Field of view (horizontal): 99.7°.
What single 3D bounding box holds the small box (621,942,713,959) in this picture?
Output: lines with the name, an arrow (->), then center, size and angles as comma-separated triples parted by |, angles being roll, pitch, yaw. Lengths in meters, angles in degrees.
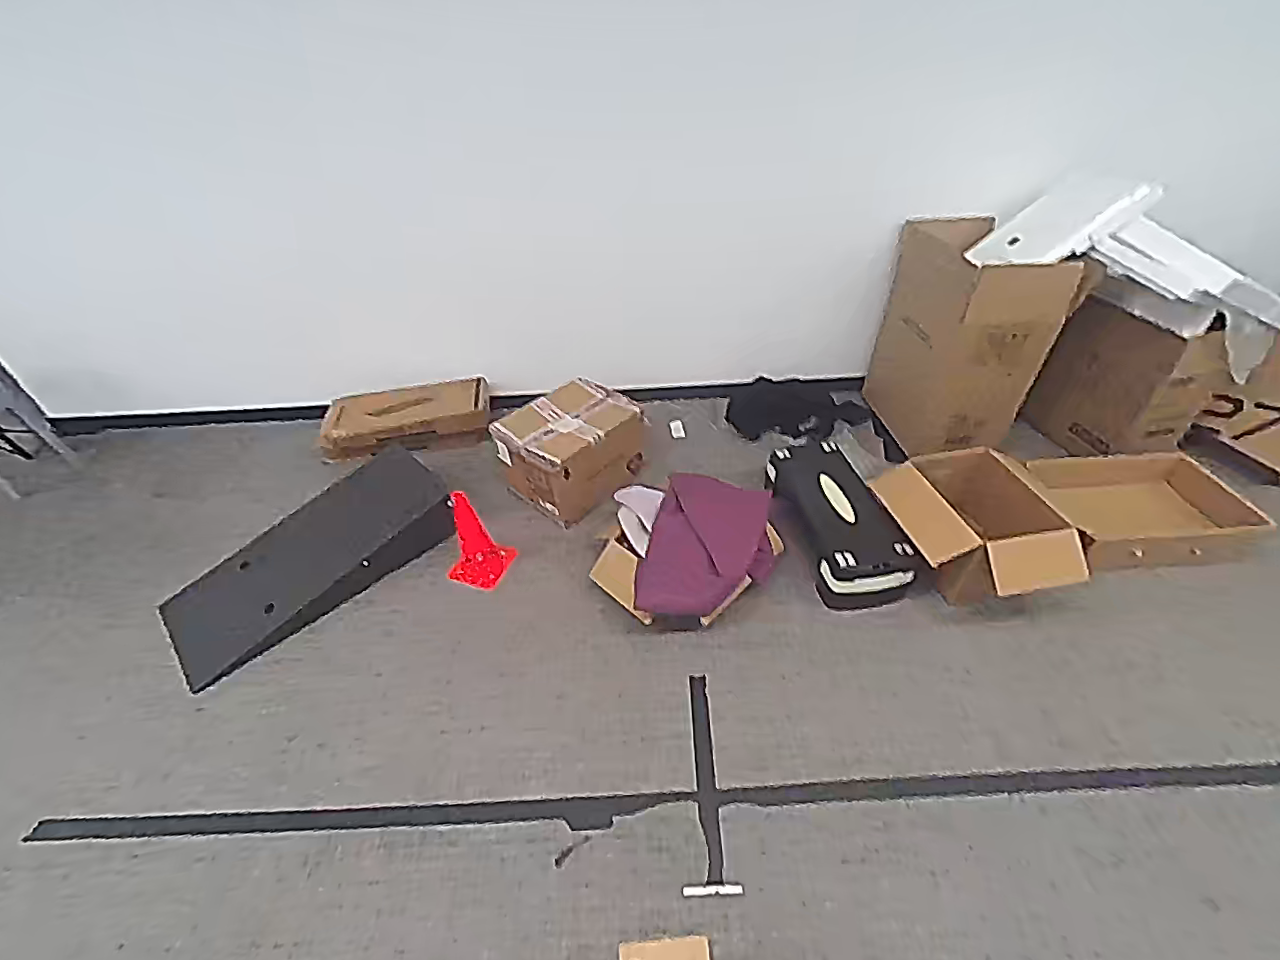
small box -> 0.058, 1.009, 1.027 | 0.179, 0.176, 0.168 | -4, 40, -1
